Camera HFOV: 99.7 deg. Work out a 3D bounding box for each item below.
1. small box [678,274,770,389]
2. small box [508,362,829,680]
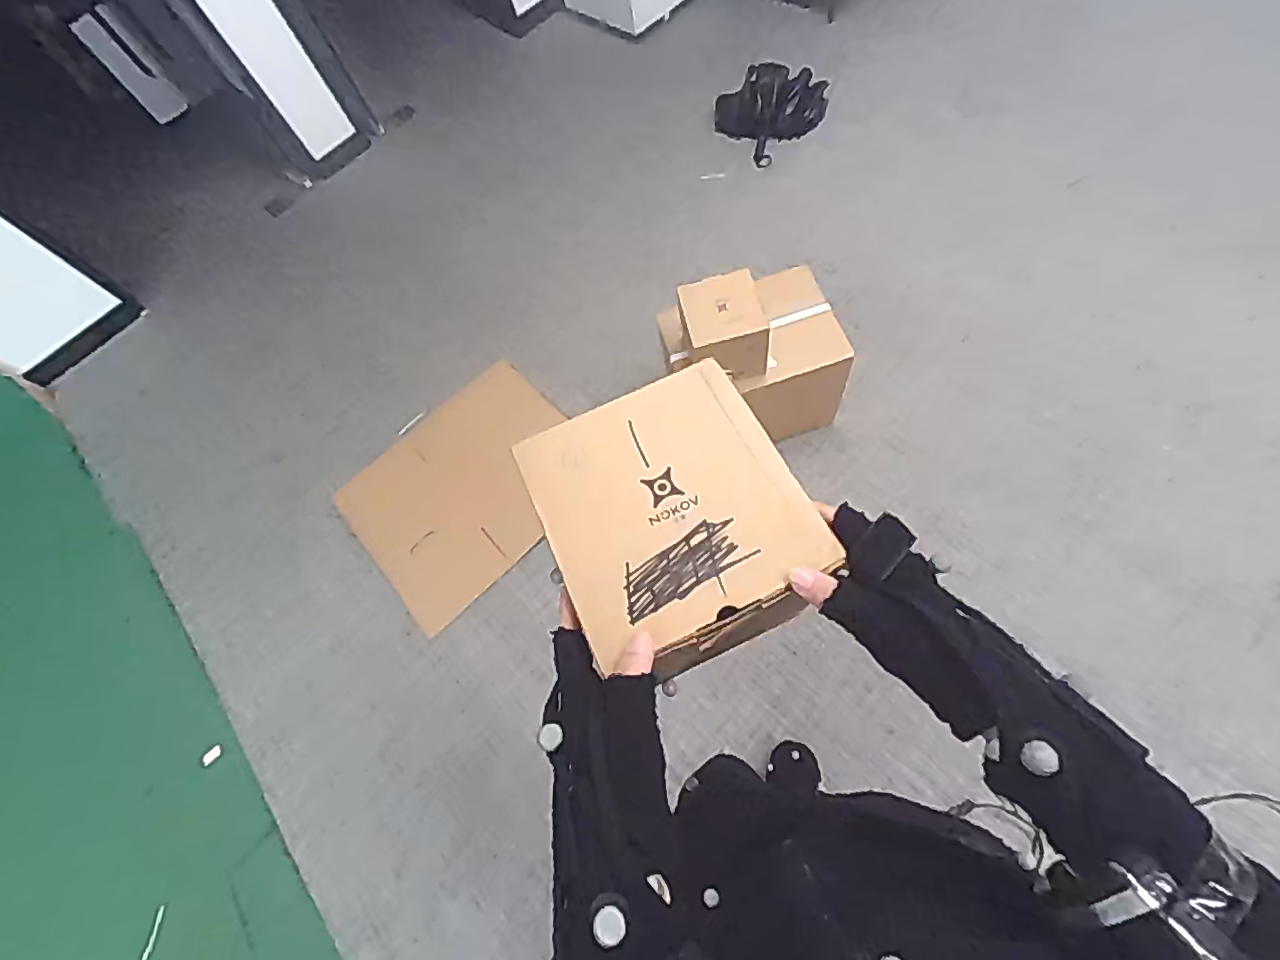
[{"bbox_3d":[0.190,-0.330,1.238,0.168,0.176,0.179,-15,66,5],"label":"small box"},{"bbox_3d":[0.021,0.045,0.442,0.168,0.176,0.179,-28,67,-6],"label":"small box"}]
